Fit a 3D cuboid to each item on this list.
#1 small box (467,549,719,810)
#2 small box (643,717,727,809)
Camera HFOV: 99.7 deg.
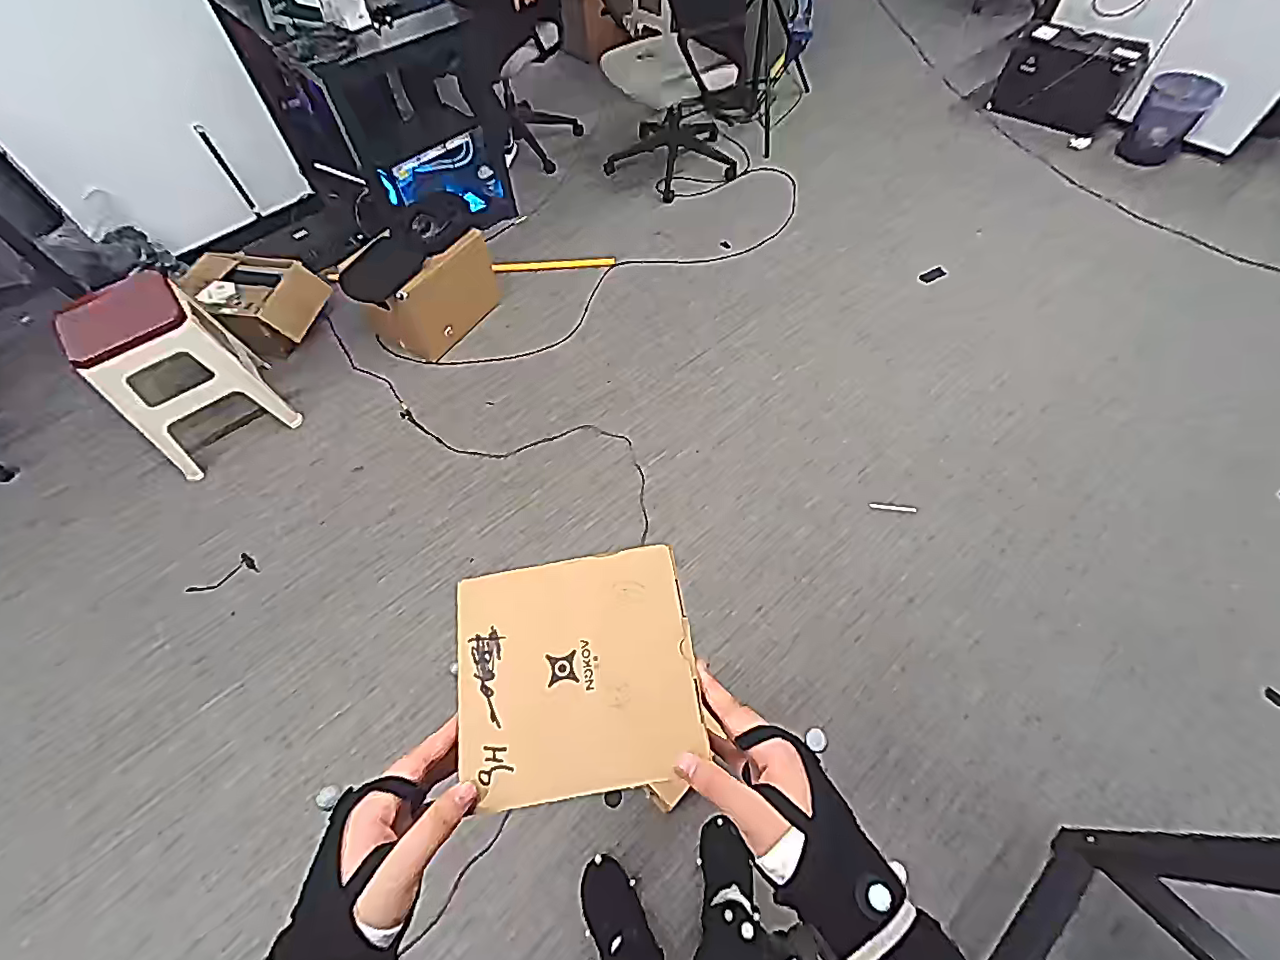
[{"bbox_3d":[-0.039,0.175,0.475,0.179,0.176,0.168,-10,63,-1],"label":"small box"},{"bbox_3d":[0.056,0.539,1.103,0.168,0.176,0.179,37,65,21],"label":"small box"}]
